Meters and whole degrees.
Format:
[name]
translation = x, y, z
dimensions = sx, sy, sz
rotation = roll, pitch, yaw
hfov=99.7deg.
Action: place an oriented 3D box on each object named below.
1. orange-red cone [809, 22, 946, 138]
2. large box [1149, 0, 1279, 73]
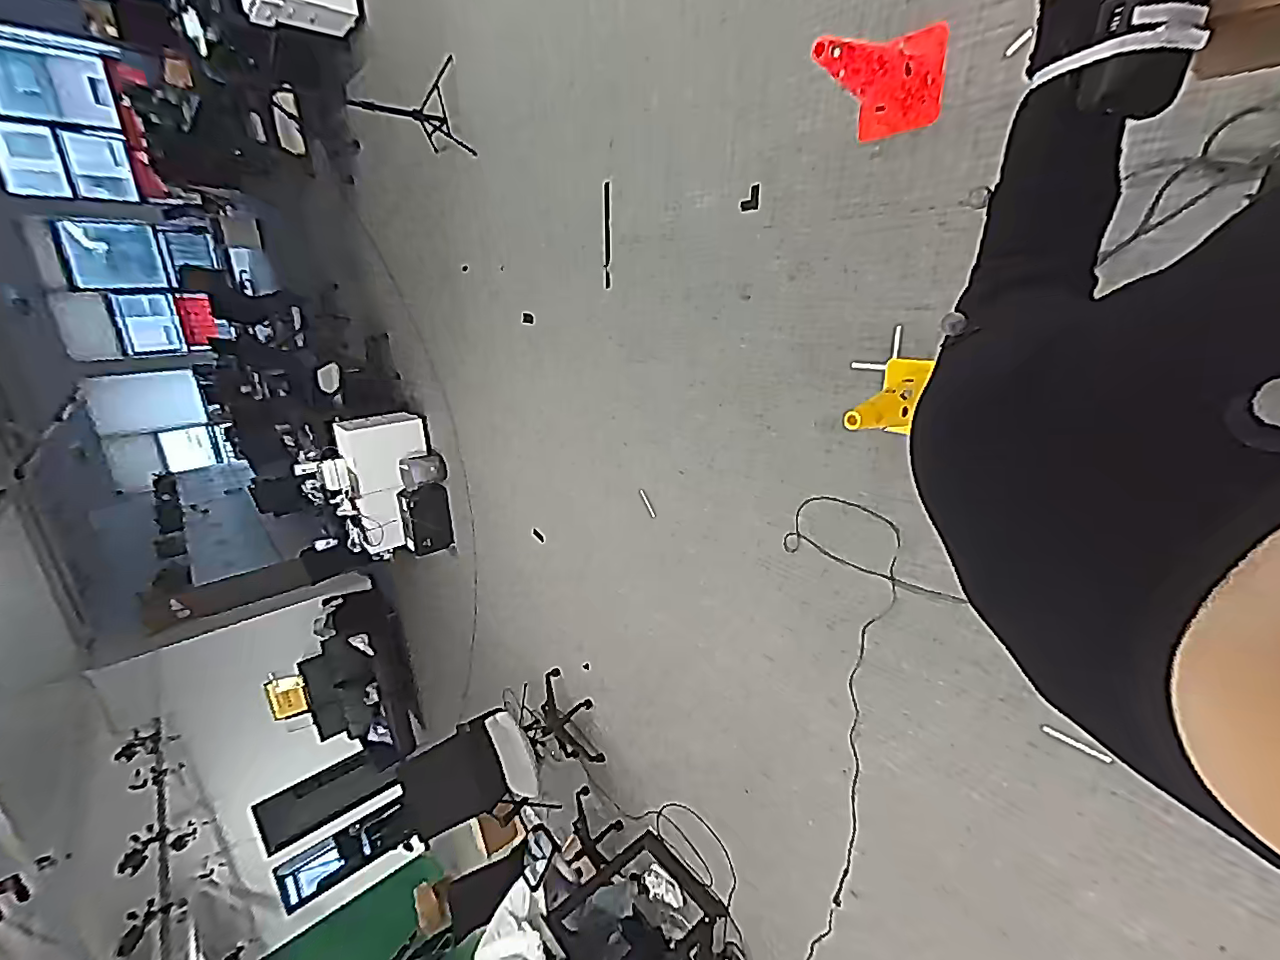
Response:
[orange-red cone]
translation = 0.491, -0.906, 1.190
dimensions = 0.198, 0.360, 0.199
rotation = 19, 119, 47
[large box]
translation = 0.562, -0.448, 0.253
dimensions = 0.408, 0.320, 0.320
rotation = 19, 124, 44
